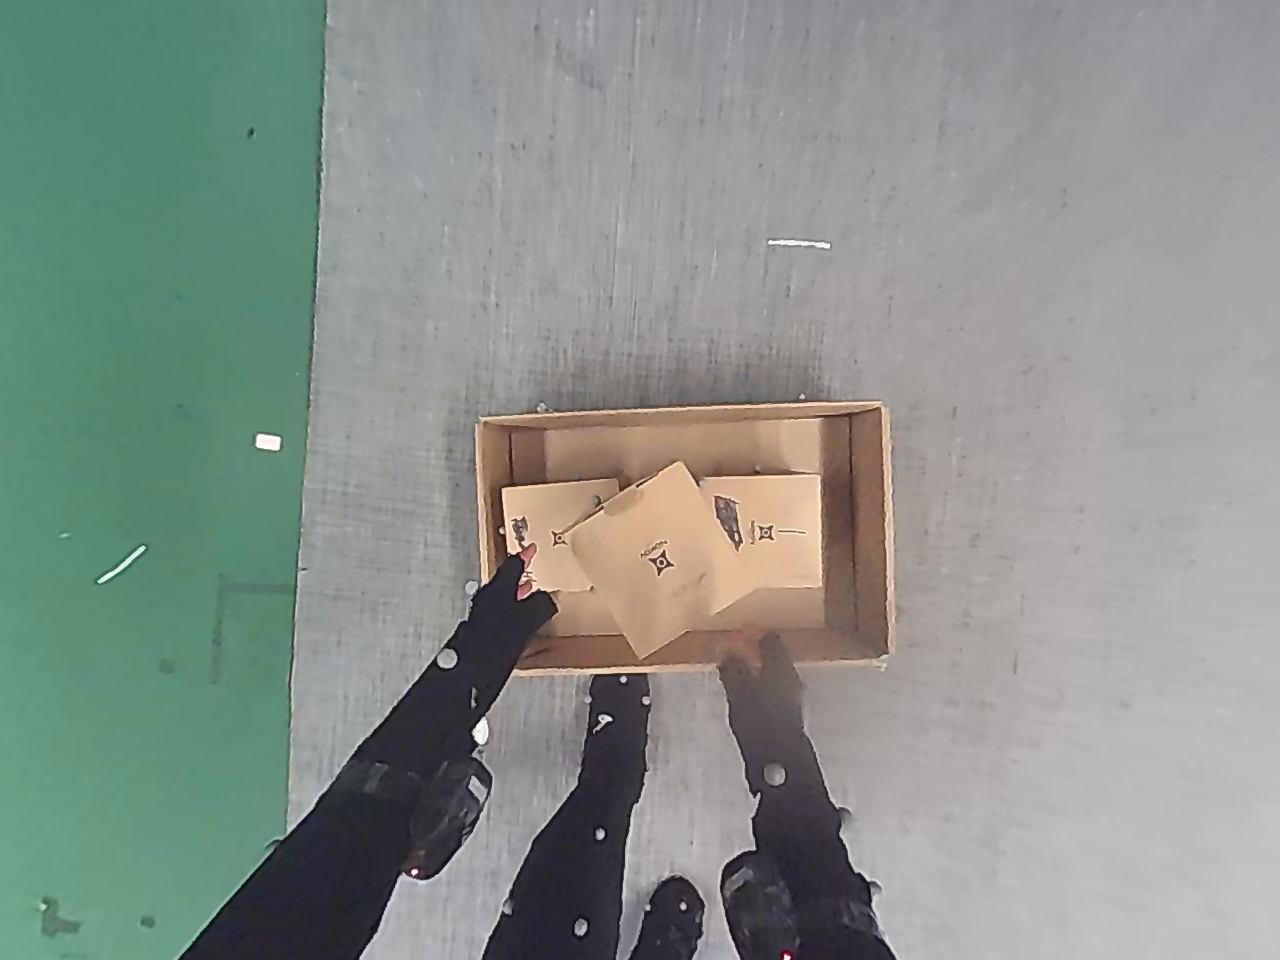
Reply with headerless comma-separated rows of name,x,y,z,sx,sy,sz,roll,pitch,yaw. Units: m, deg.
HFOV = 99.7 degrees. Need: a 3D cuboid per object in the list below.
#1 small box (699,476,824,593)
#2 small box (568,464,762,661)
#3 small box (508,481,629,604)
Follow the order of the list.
small box,0.180,0.079,0.855,0.179,0.176,0.168,-1,92,3
small box,0.030,0.094,0.702,0.168,0.176,0.179,-33,92,3
small box,-0.100,0.091,0.868,0.179,0.176,0.168,-5,91,0
